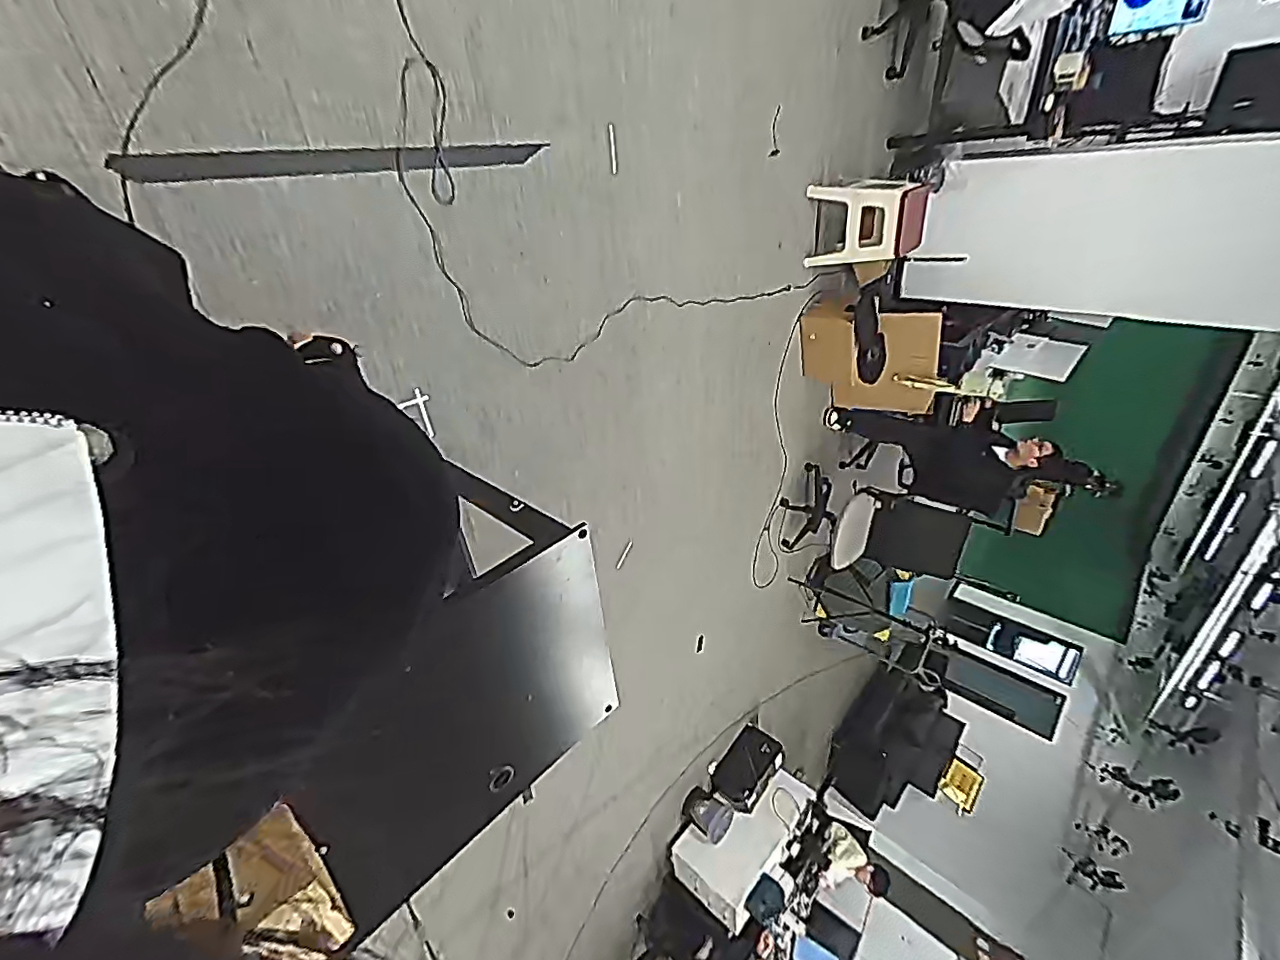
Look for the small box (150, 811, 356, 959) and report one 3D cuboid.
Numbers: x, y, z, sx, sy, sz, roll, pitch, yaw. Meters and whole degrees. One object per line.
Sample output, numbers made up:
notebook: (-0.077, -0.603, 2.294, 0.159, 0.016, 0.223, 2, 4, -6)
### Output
small box: (-0.550, 0.630, 0.776, 0.179, 0.176, 0.168, -30, 128, -37)
